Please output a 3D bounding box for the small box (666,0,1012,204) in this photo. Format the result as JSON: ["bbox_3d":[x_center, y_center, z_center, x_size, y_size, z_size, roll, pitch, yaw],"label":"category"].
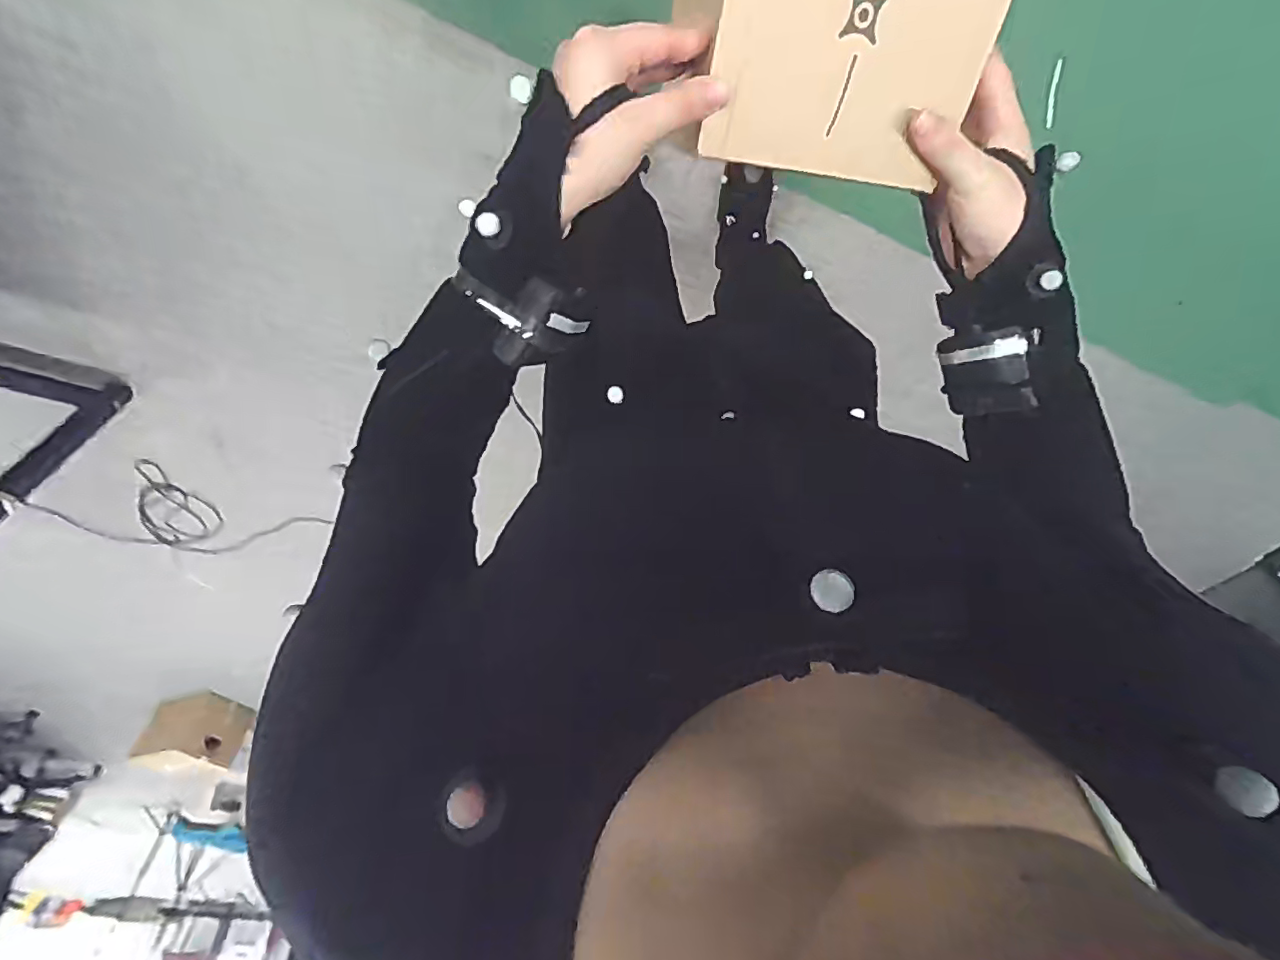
[{"bbox_3d":[0.118,-0.307,0.367,0.168,0.176,0.179,2,127,-9],"label":"small box"}]
